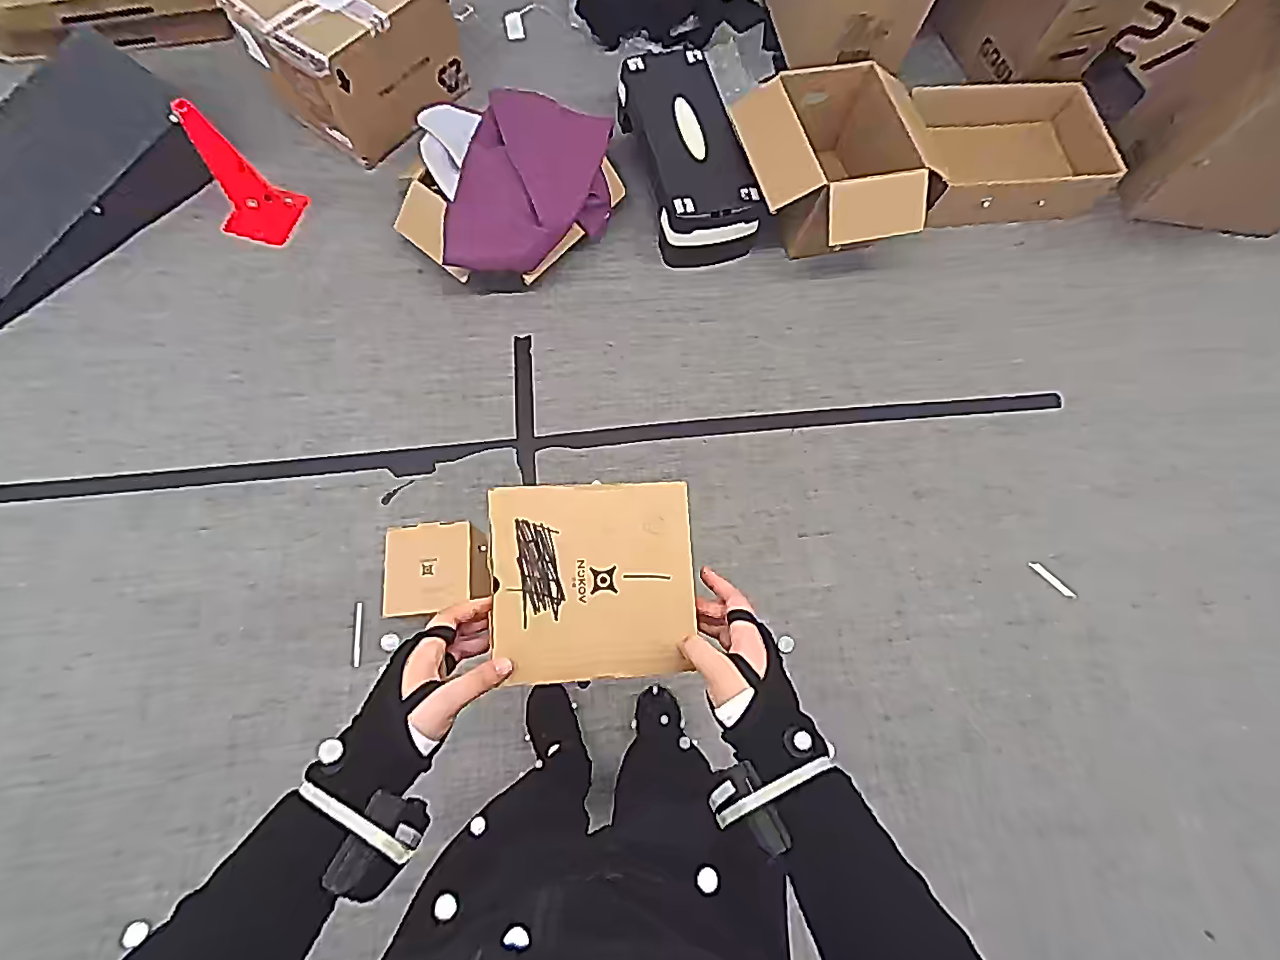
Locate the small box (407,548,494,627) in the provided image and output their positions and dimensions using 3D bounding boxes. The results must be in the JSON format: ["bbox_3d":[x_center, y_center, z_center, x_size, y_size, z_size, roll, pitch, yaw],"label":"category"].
[{"bbox_3d":[-0.434,0.259,1.288,0.179,0.176,0.168,-3,72,-4],"label":"small box"}]

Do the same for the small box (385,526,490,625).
[{"bbox_3d":[-0.417,0.205,1.136,0.168,0.176,0.179,-5,74,-4],"label":"small box"}]

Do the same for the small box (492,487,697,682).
[{"bbox_3d":[-0.047,0.102,0.550,0.179,0.176,0.168,-2,81,-6],"label":"small box"}]
